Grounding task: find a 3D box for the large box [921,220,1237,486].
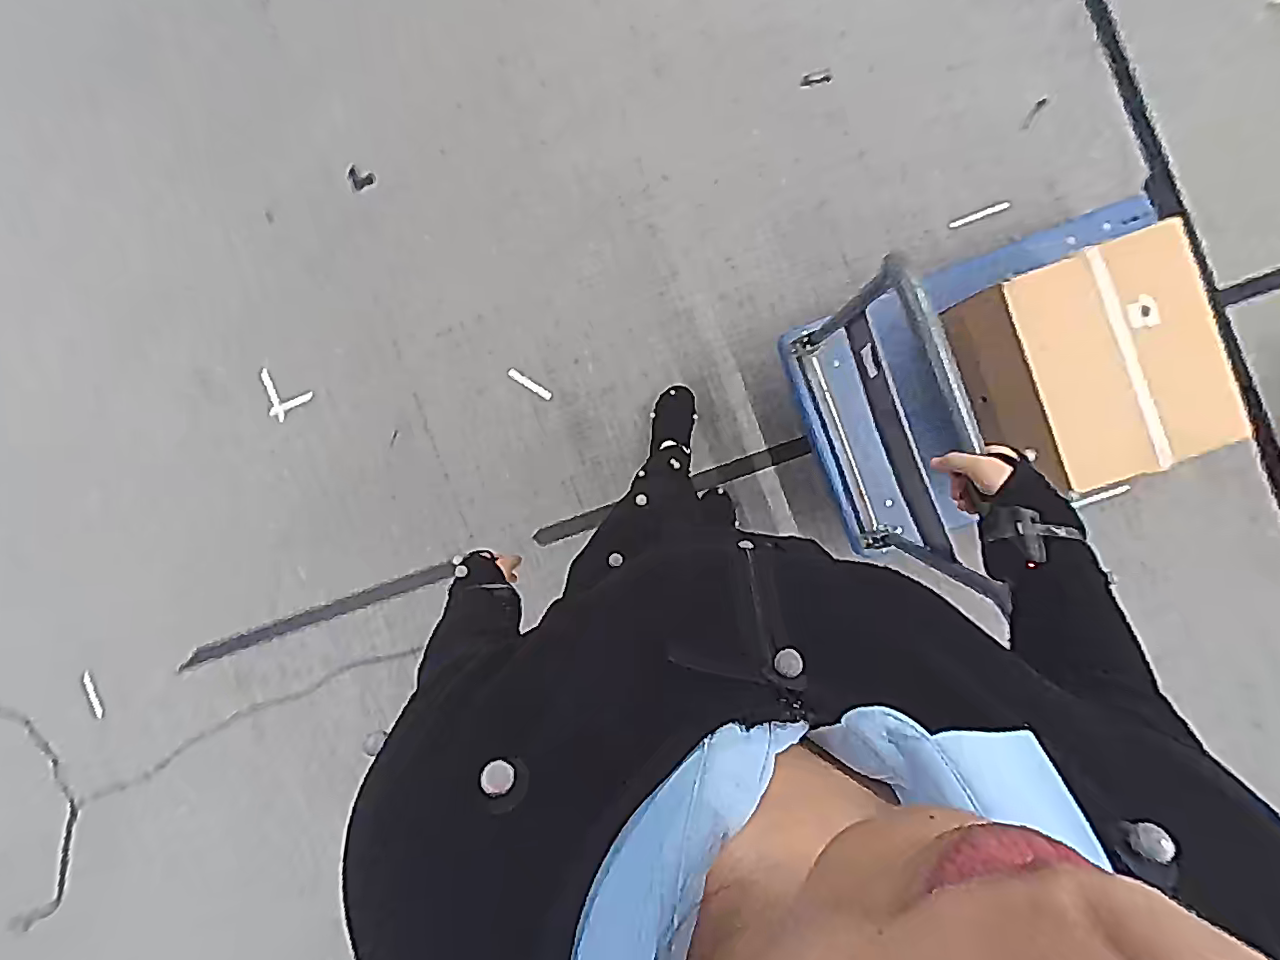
[{"bbox_3d":[0.852,-0.227,1.111,0.320,0.320,0.408,-20,90,4],"label":"large box"}]
